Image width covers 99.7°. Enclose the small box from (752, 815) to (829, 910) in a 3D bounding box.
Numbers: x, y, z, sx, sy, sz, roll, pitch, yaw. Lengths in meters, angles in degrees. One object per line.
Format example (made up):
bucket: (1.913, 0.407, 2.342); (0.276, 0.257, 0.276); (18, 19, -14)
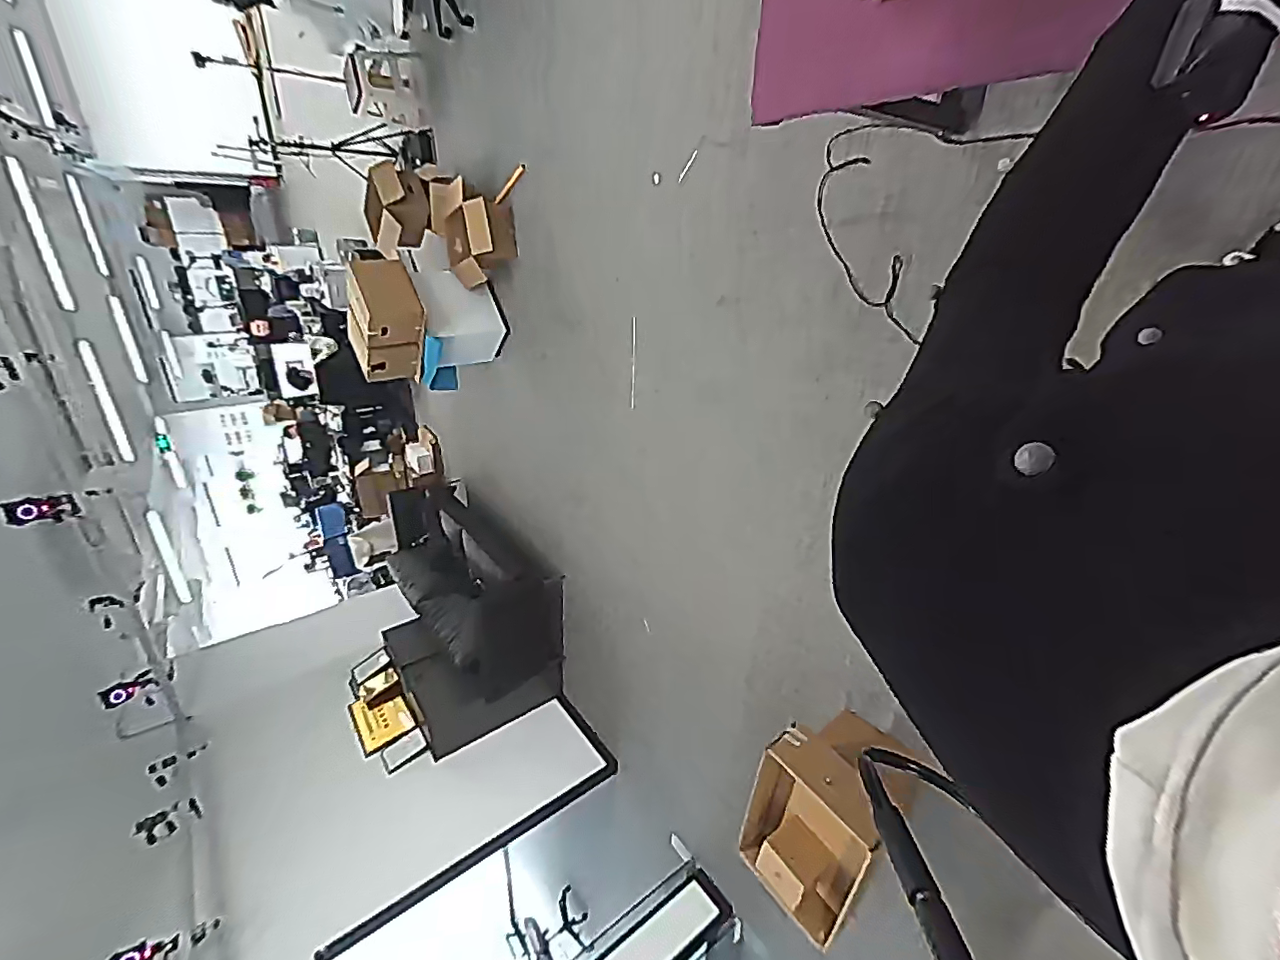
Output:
small box: (0.521, 1.309, 1.862); (0.179, 0.176, 0.168); (37, 131, 42)
